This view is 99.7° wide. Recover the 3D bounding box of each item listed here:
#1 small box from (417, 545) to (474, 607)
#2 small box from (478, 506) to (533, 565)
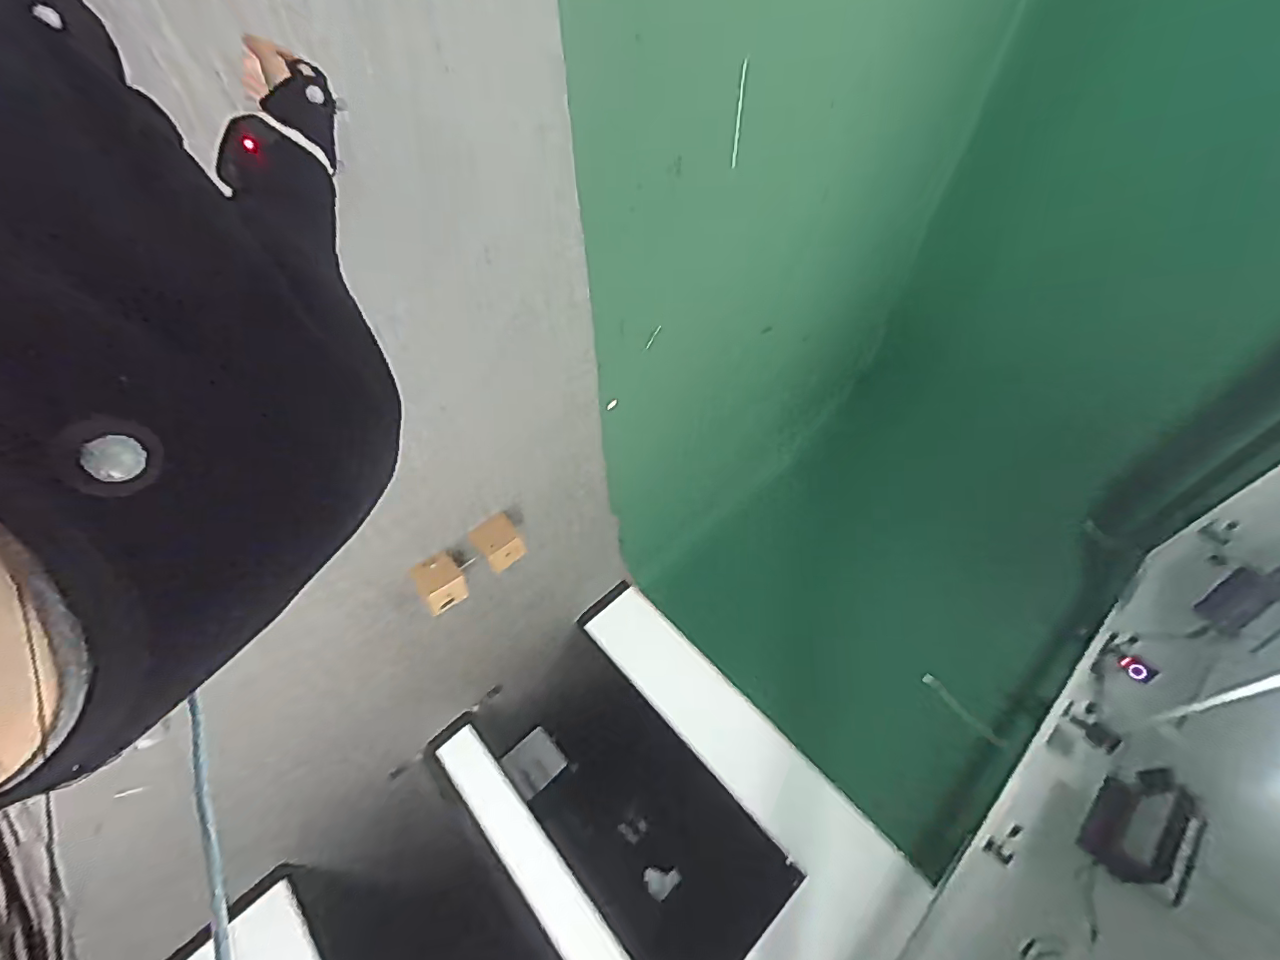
[{"bbox_3d":[-0.857,0.420,2.387,0.168,0.176,0.179,-32,148,-31],"label":"small box"},{"bbox_3d":[-0.630,0.255,2.508,0.179,0.176,0.168,-38,151,-22],"label":"small box"}]
